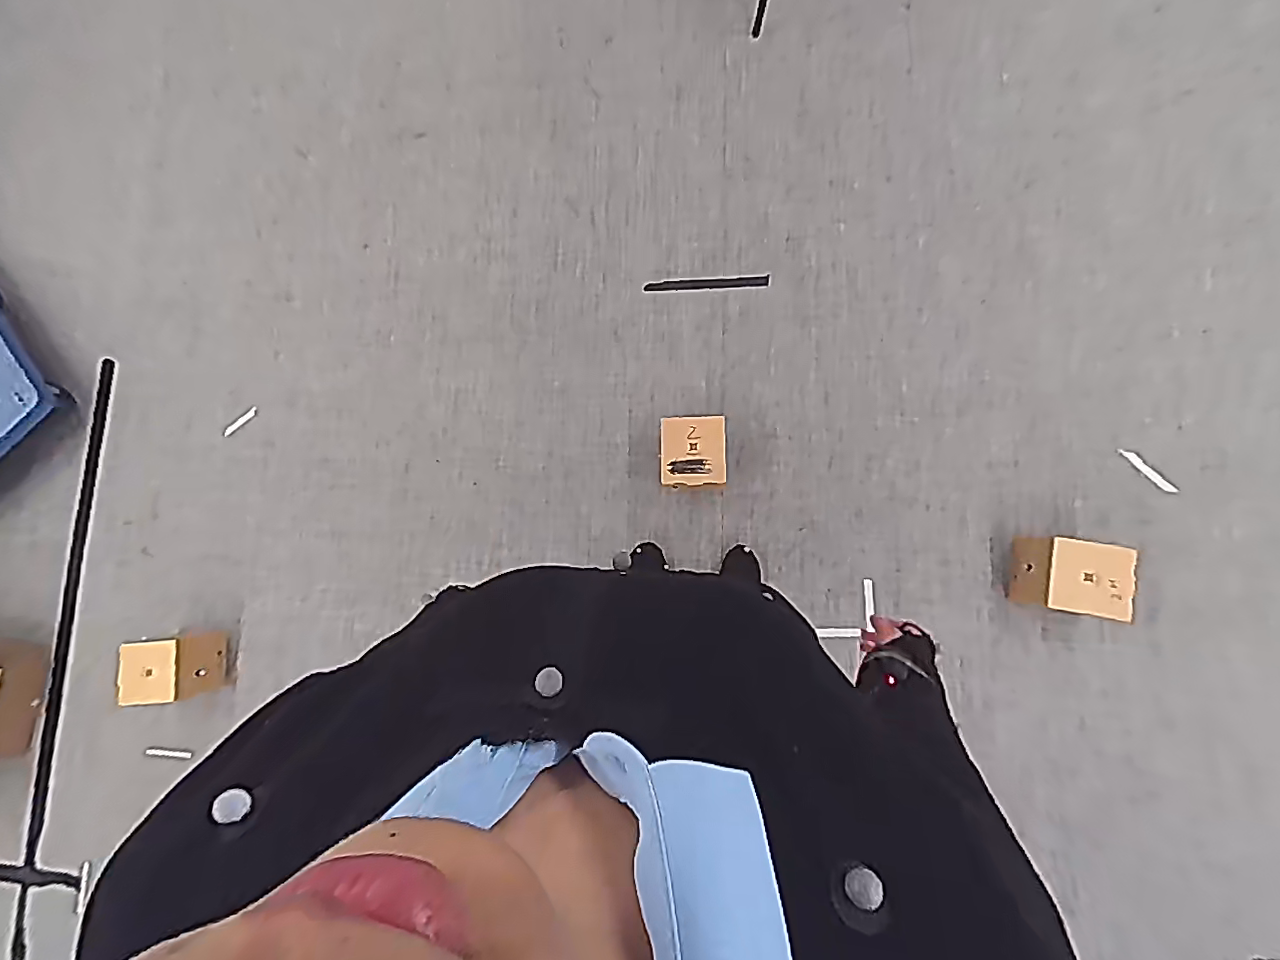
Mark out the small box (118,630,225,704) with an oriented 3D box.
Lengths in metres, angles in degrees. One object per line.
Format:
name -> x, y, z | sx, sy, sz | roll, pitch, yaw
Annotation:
small box -> -1.335, 0.532, 1.552 | 0.179, 0.176, 0.168 | -6, 82, 7

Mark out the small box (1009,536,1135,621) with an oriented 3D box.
small box -> 1.029, 0.233, 1.303 | 0.179, 0.176, 0.168 | 10, 85, 8
